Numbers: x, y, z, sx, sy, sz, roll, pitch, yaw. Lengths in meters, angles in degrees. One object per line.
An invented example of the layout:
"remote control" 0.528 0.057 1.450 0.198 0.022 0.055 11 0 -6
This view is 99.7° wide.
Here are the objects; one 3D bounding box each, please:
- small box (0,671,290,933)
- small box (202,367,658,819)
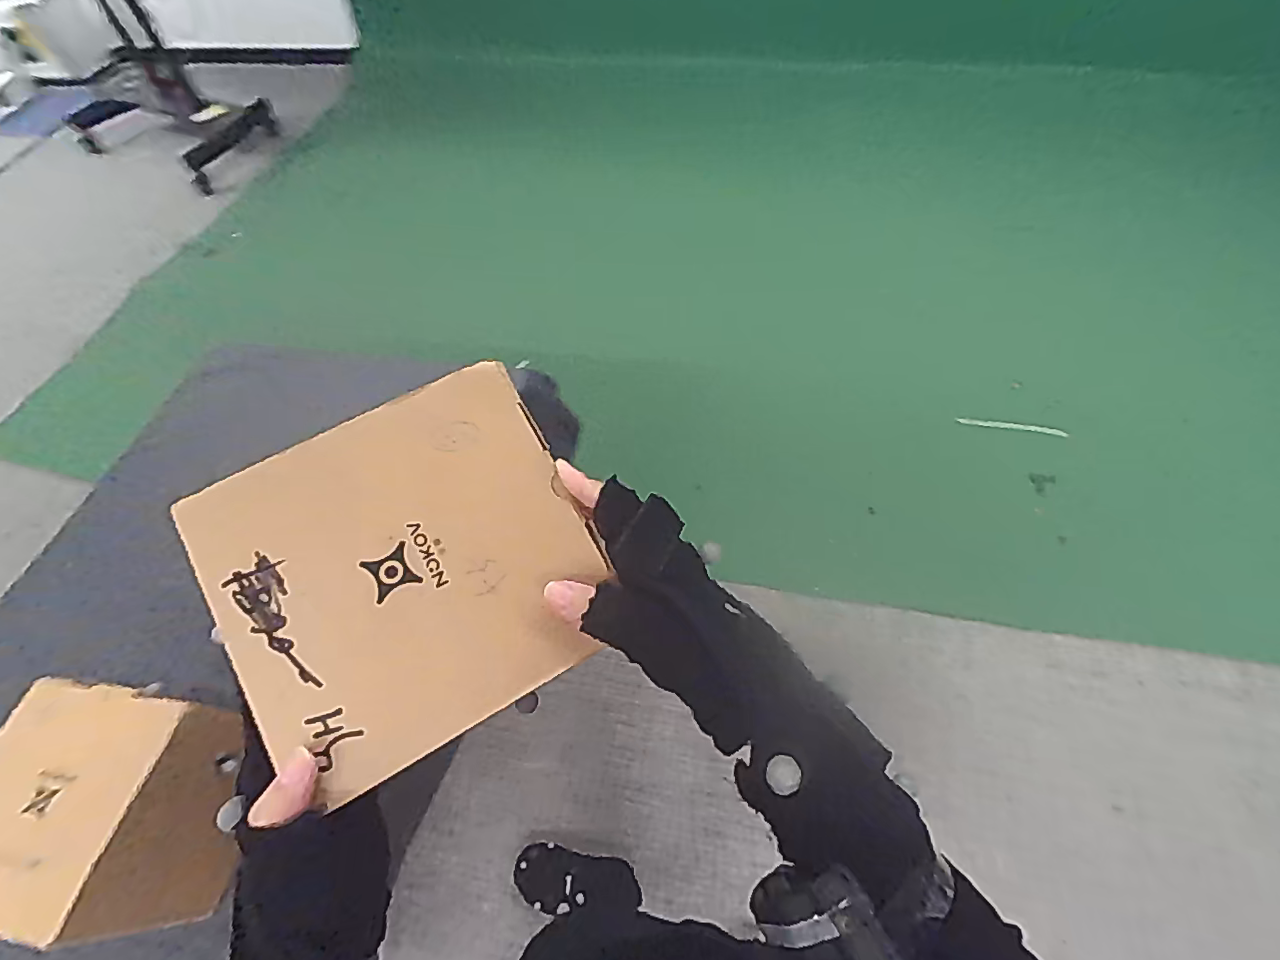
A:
"small box" -0.493 0.306 0.533 0.168 0.176 0.179 5 59 9
"small box" -0.111 0.062 0.349 0.179 0.176 0.168 -30 81 -10
